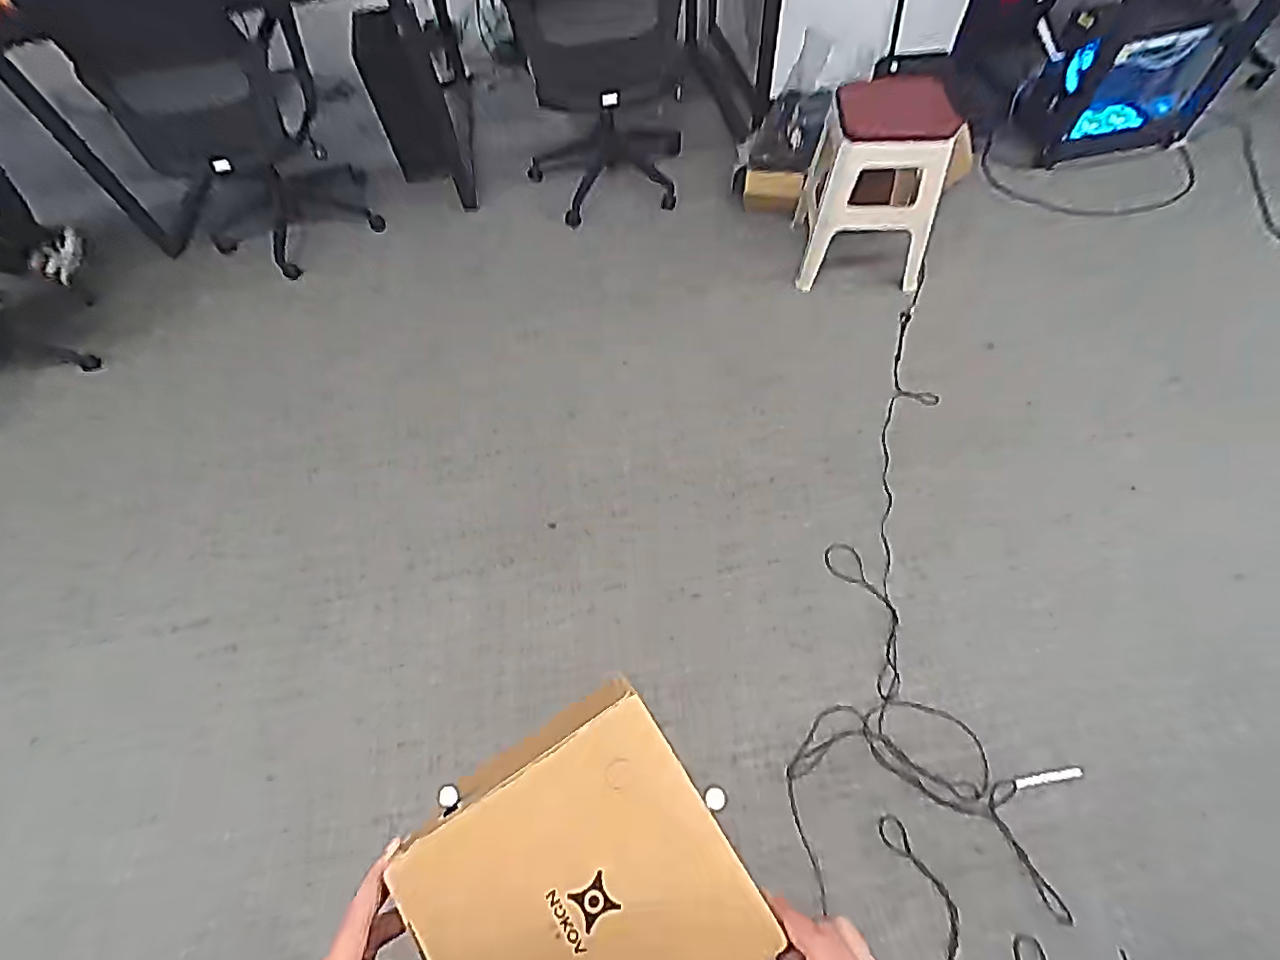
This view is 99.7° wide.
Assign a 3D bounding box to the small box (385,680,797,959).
[{"bbox_3d":[-0.032,0.259,0.374,0.179,0.176,0.168,-32,79,-12],"label":"small box"}]
